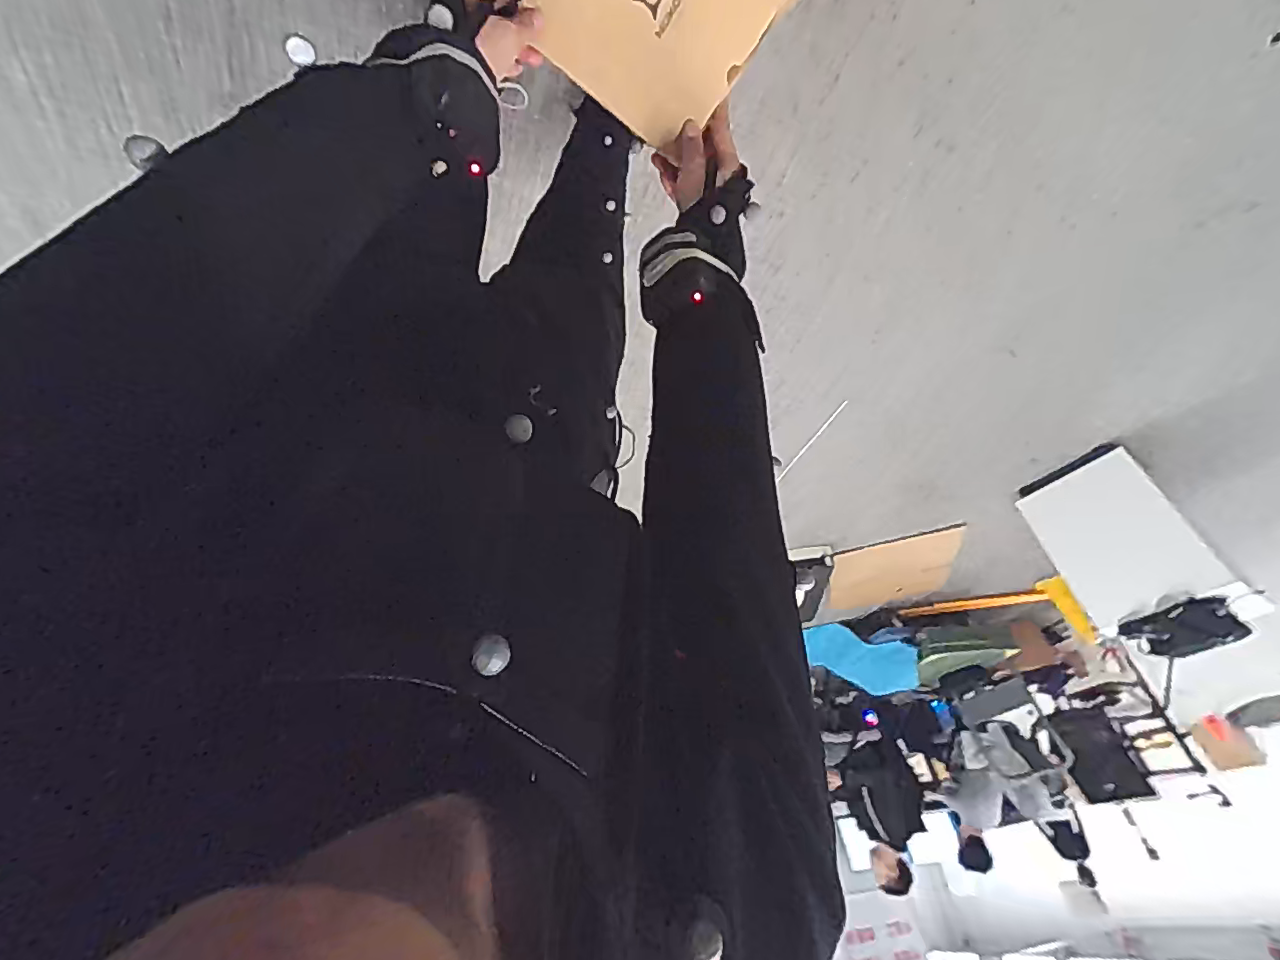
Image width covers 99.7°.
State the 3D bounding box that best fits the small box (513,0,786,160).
[{"bbox_3d":[0.006,-0.428,0.488,0.179,0.176,0.168,26,120,-24],"label":"small box"}]
